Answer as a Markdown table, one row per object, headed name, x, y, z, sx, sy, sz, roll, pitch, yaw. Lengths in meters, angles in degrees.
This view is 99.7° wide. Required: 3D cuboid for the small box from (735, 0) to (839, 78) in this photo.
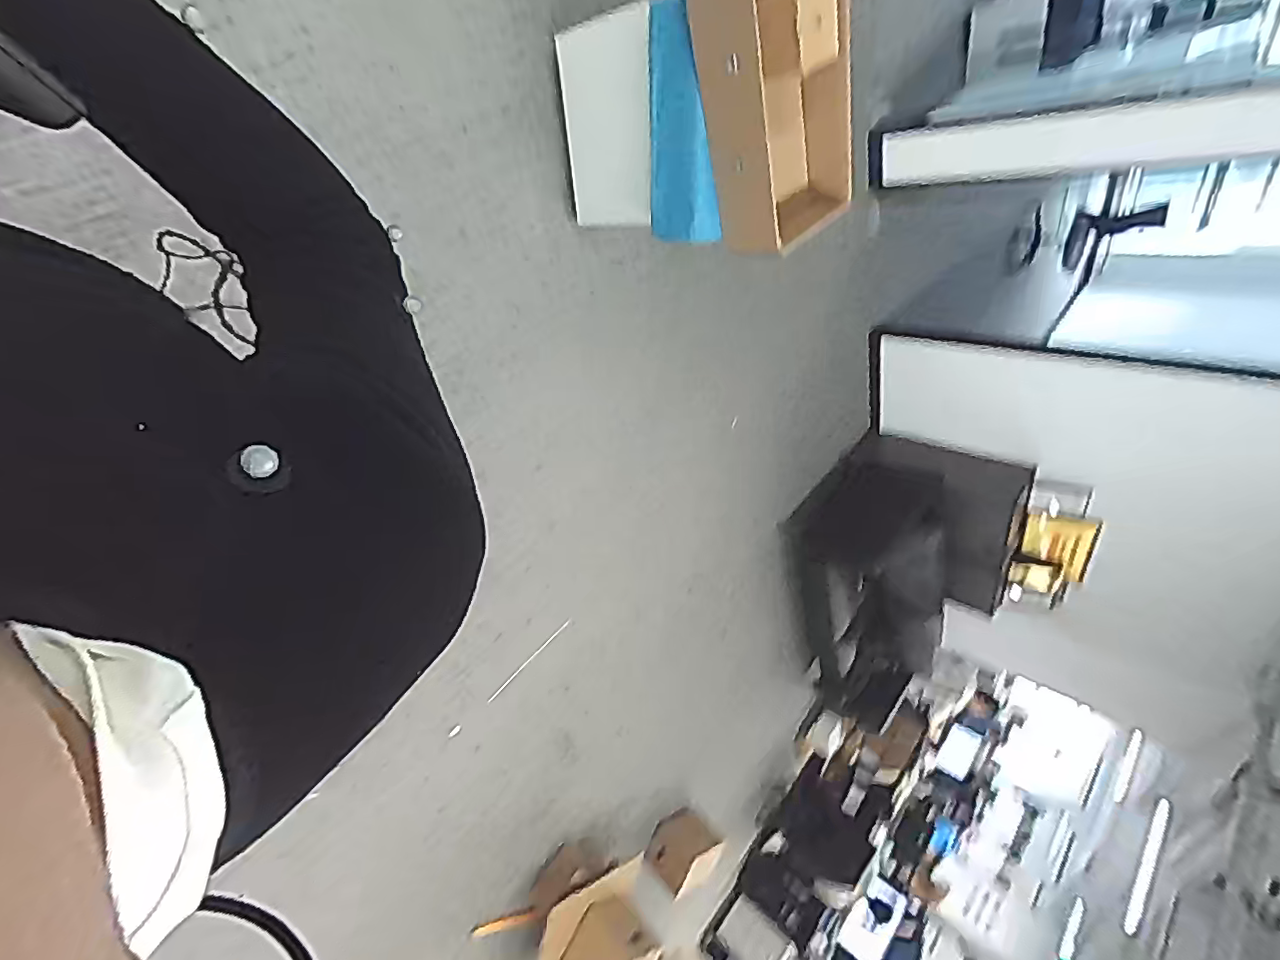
| name | x | y | z | sx | sy | sz | roll | pitch | yaw |
| --- | --- | --- | --- | --- | --- | --- | --- | --- | --- |
| small box | 0.348 | -1.077 | 1.270 | 0.179 | 0.176 | 0.168 | -43 | 135 | -26 |
